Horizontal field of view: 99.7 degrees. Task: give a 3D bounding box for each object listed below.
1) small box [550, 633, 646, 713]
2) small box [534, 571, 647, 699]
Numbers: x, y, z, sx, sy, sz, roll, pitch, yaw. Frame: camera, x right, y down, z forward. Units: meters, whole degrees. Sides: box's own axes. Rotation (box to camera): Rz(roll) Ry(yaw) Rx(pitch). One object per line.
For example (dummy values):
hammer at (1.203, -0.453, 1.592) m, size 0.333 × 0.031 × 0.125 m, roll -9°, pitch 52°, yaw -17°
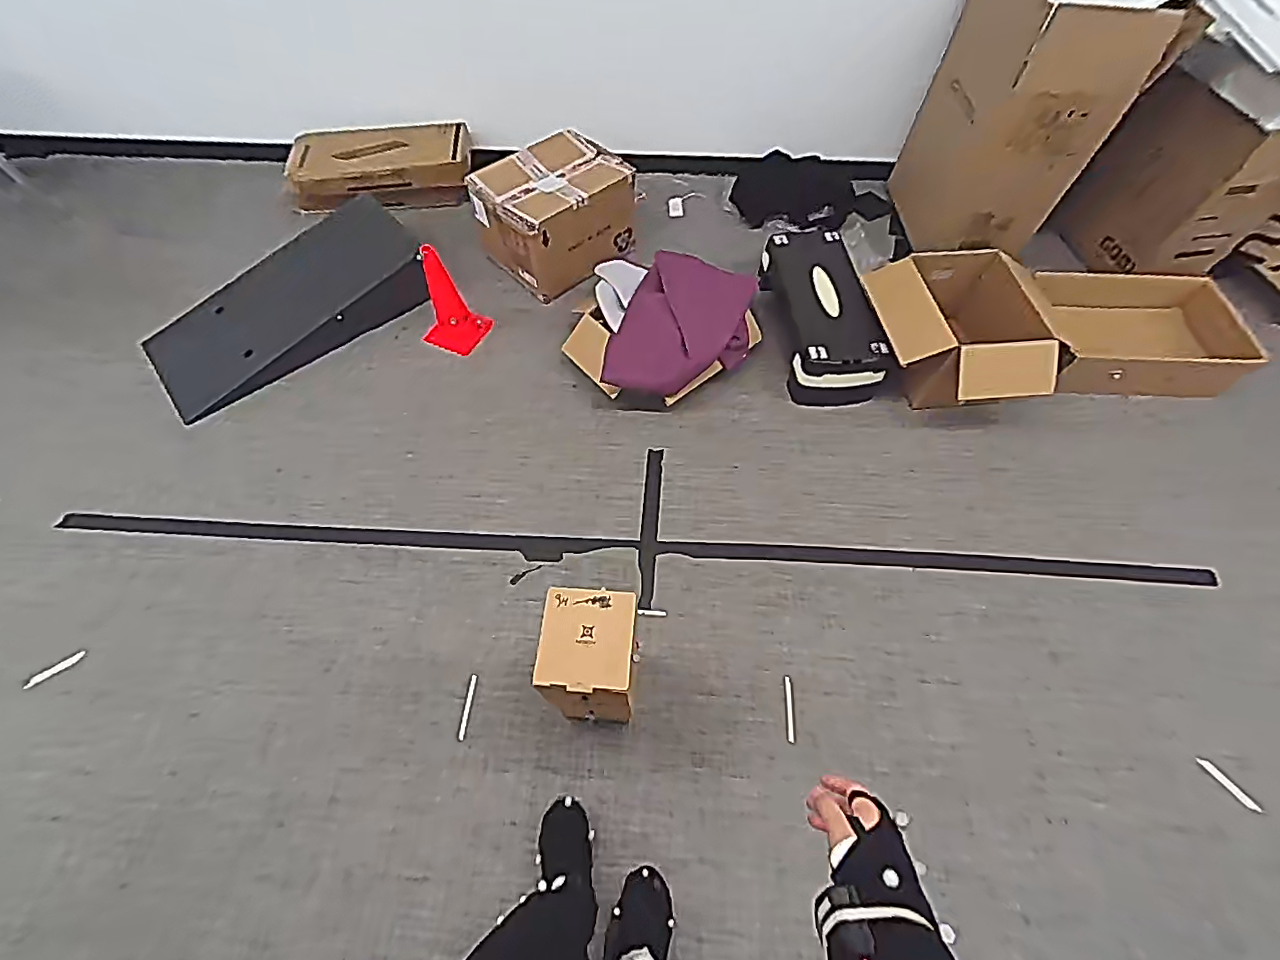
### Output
small box at (-0.075, 0.356, 1.081) m, size 0.168 × 0.176 × 0.179 m, roll 3°, pitch 60°, yaw 3°
small box at (-0.076, 0.274, 0.939) m, size 0.168 × 0.176 × 0.179 m, roll 4°, pitch 60°, yaw 3°
